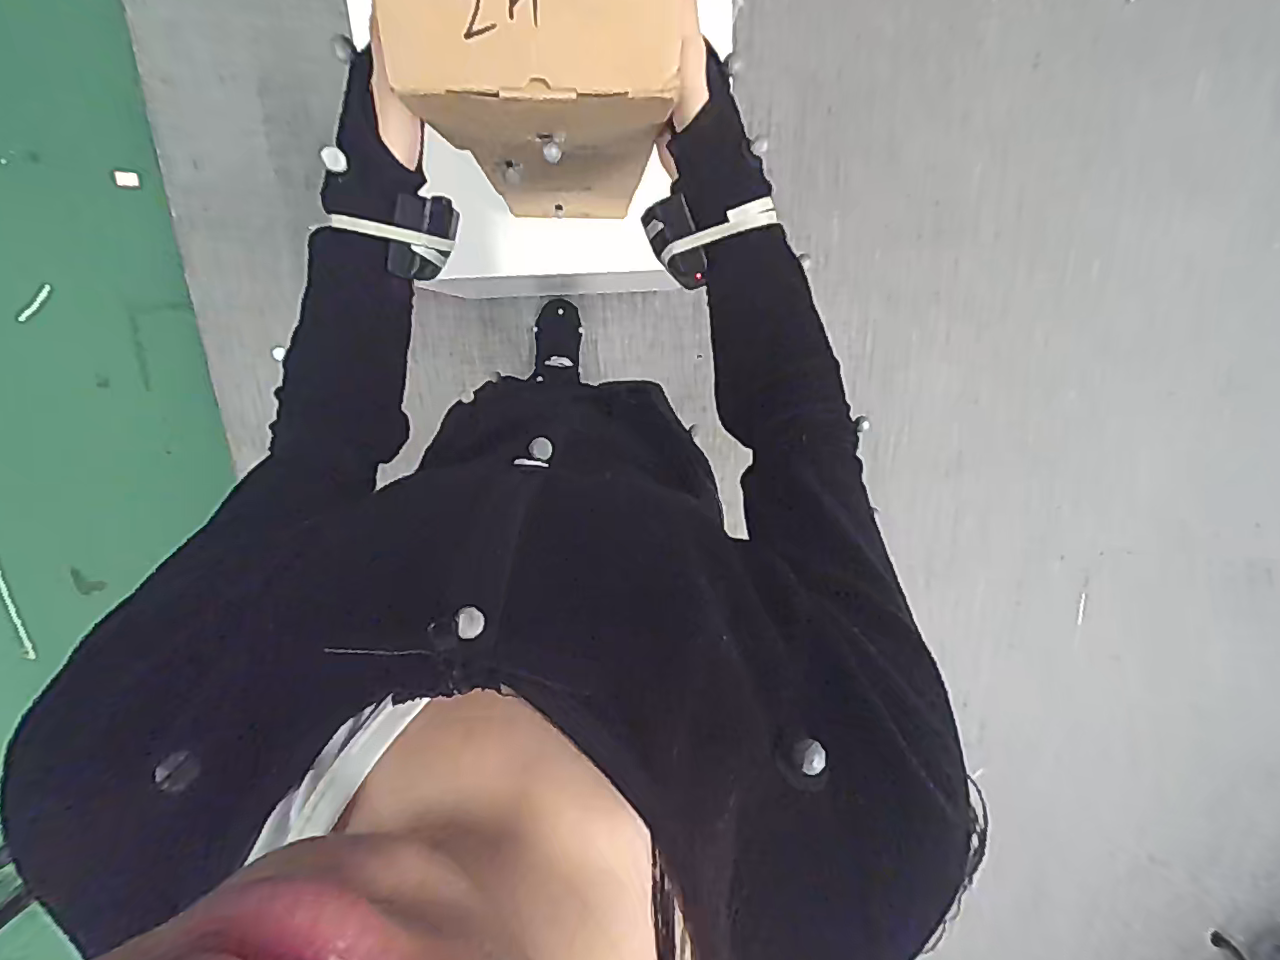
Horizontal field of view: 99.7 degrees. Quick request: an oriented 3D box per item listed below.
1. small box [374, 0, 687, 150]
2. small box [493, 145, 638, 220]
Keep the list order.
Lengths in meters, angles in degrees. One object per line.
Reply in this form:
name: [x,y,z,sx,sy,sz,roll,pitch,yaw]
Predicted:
small box: [-0.064,-0.331,0.342,0.168,0.176,0.179,-2,110,-5]
small box: [-0.093,-0.440,0.676,0.168,0.176,0.179,-2,105,-6]
